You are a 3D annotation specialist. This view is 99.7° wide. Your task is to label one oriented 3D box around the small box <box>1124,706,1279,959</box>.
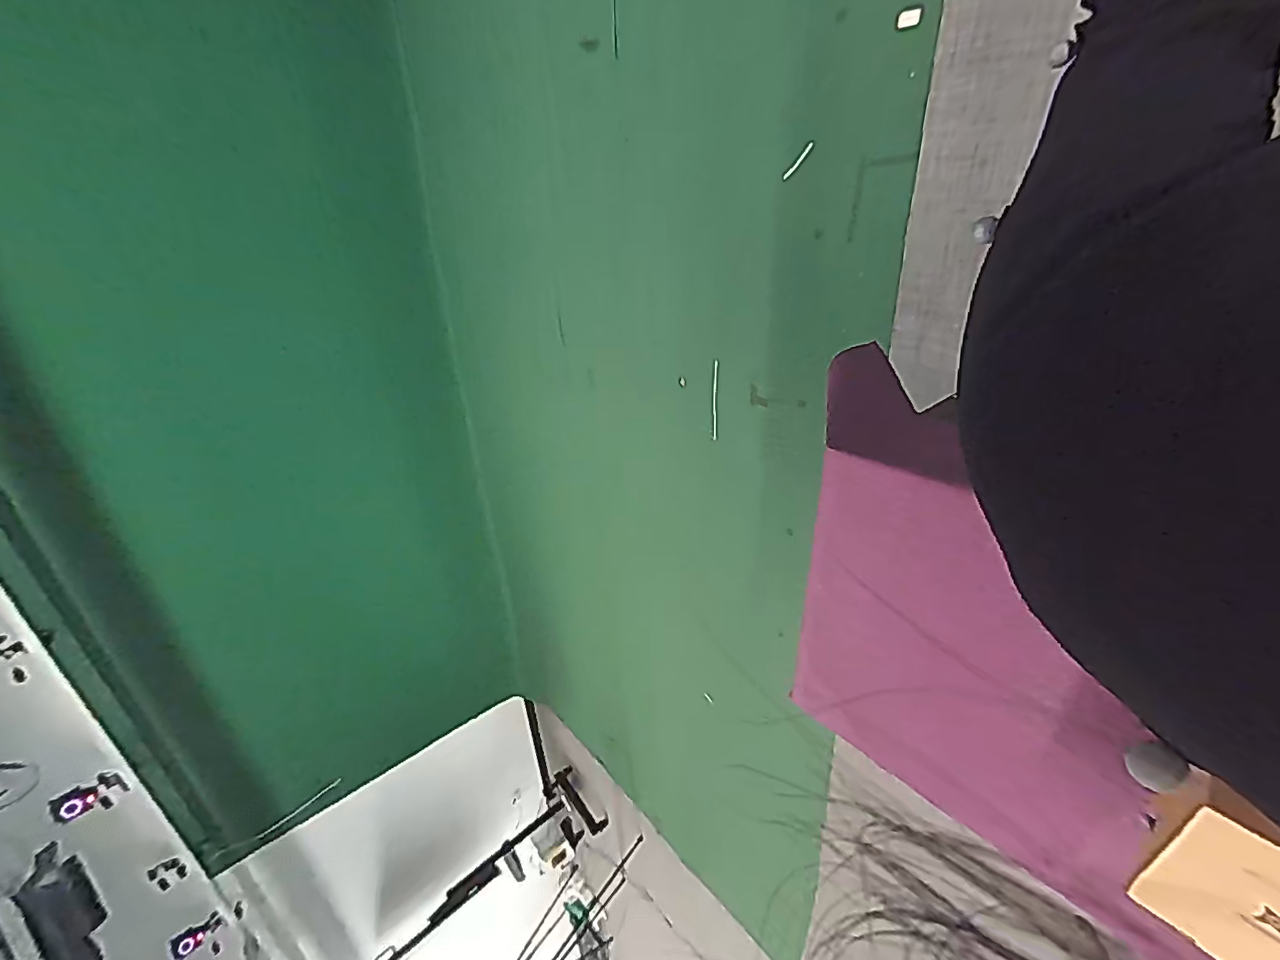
[{"bbox_3d":[0.650,0.377,0.550,0.168,0.176,0.179,30,130,40],"label":"small box"}]
